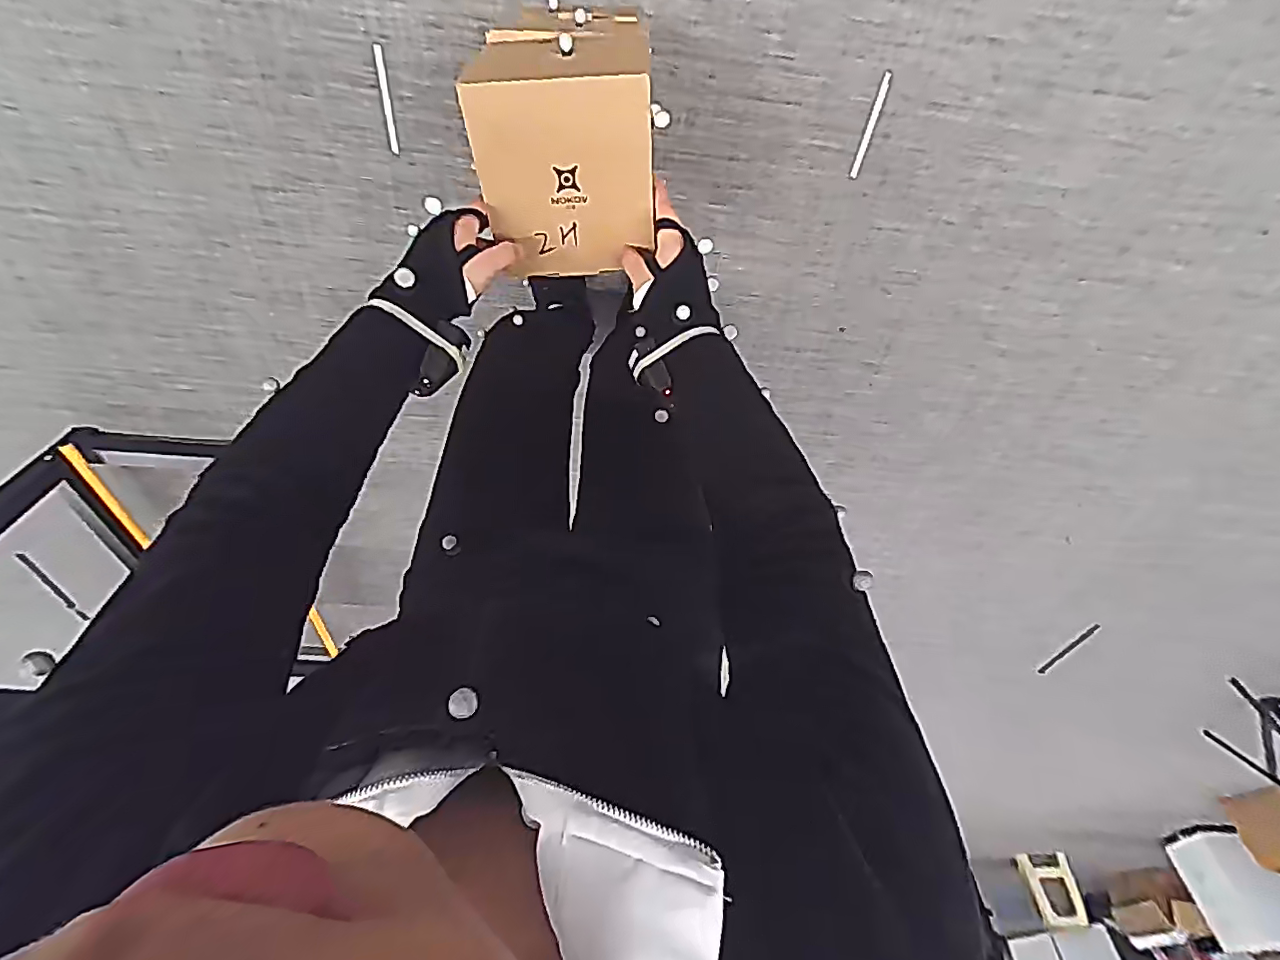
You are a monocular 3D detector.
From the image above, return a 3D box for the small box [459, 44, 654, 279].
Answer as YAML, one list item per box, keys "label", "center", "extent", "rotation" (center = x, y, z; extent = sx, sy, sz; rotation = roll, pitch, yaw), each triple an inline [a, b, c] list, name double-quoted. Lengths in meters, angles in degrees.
- label: "small box"
  center: [-0.070, -0.334, 0.565]
  extent: [0.168, 0.176, 0.179]
  rotation: [-1, 138, 2]

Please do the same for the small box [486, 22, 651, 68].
- label: "small box"
  center: [-0.078, -0.464, 0.684]
  extent: [0.179, 0.176, 0.168]
  rotation: [1, 134, 0]

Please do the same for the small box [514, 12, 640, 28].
- label: "small box"
  center: [-0.081, -0.577, 0.803]
  extent: [0.168, 0.176, 0.179]
  rotation: [1, 135, 2]
